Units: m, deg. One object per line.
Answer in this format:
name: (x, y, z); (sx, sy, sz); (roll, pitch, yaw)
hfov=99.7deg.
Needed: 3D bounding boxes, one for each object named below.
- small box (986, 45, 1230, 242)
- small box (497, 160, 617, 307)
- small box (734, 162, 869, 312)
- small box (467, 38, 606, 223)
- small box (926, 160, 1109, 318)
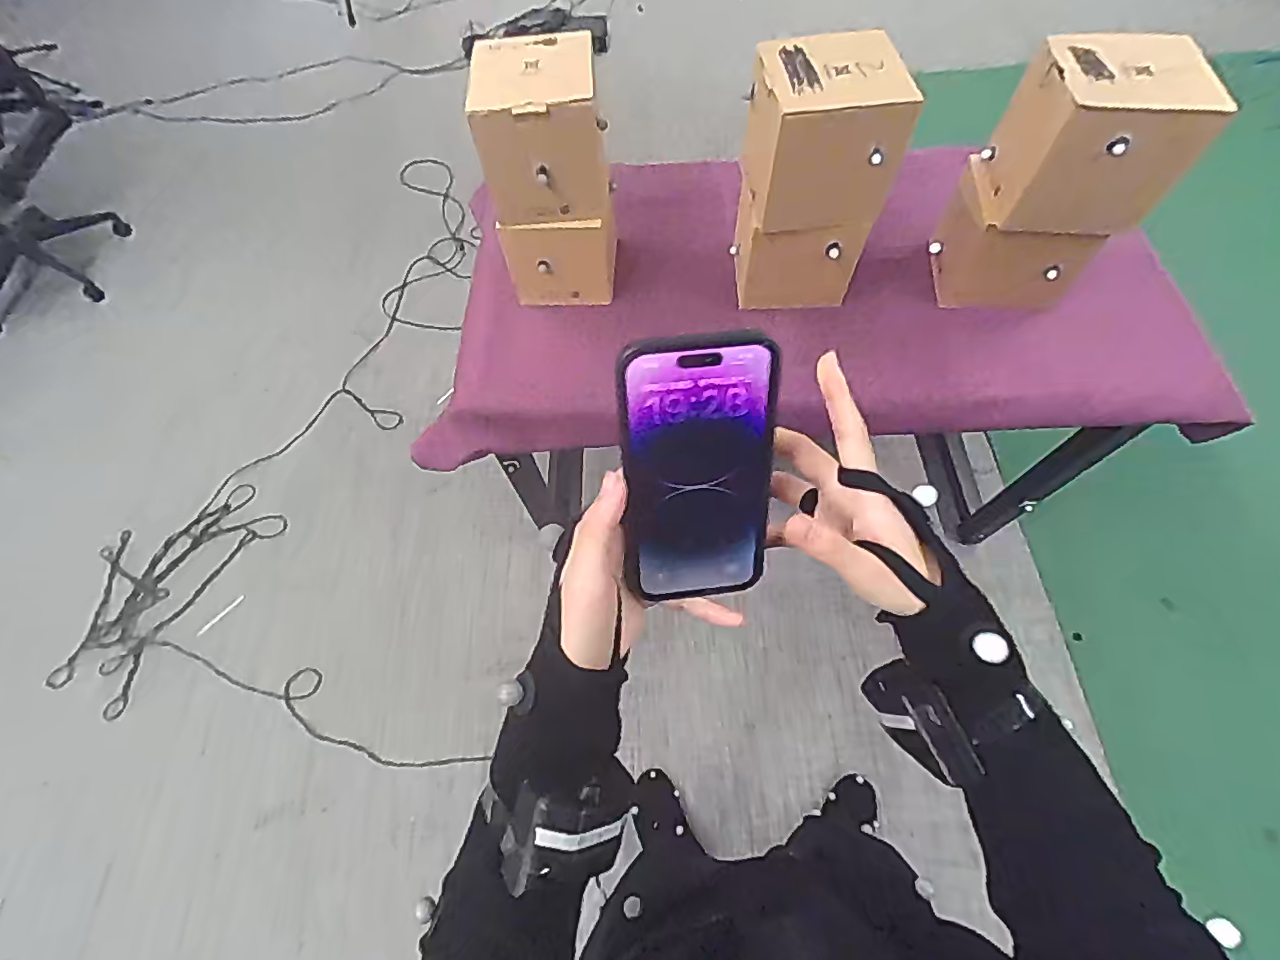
small box: (0.597, -0.445, 0.726); (0.179, 0.176, 0.168); (6, 63, 5)
small box: (-0.132, -0.419, 0.935); (0.168, 0.176, 0.179); (1, 63, 4)
small box: (0.258, -0.399, 0.903); (0.179, 0.176, 0.168); (0, 63, 3)
small box: (-0.140, -0.501, 0.793); (0.168, 0.176, 0.179); (-4, 64, 0)
small box: (0.597, -0.385, 0.879); (0.179, 0.176, 0.168); (6, 63, 6)
